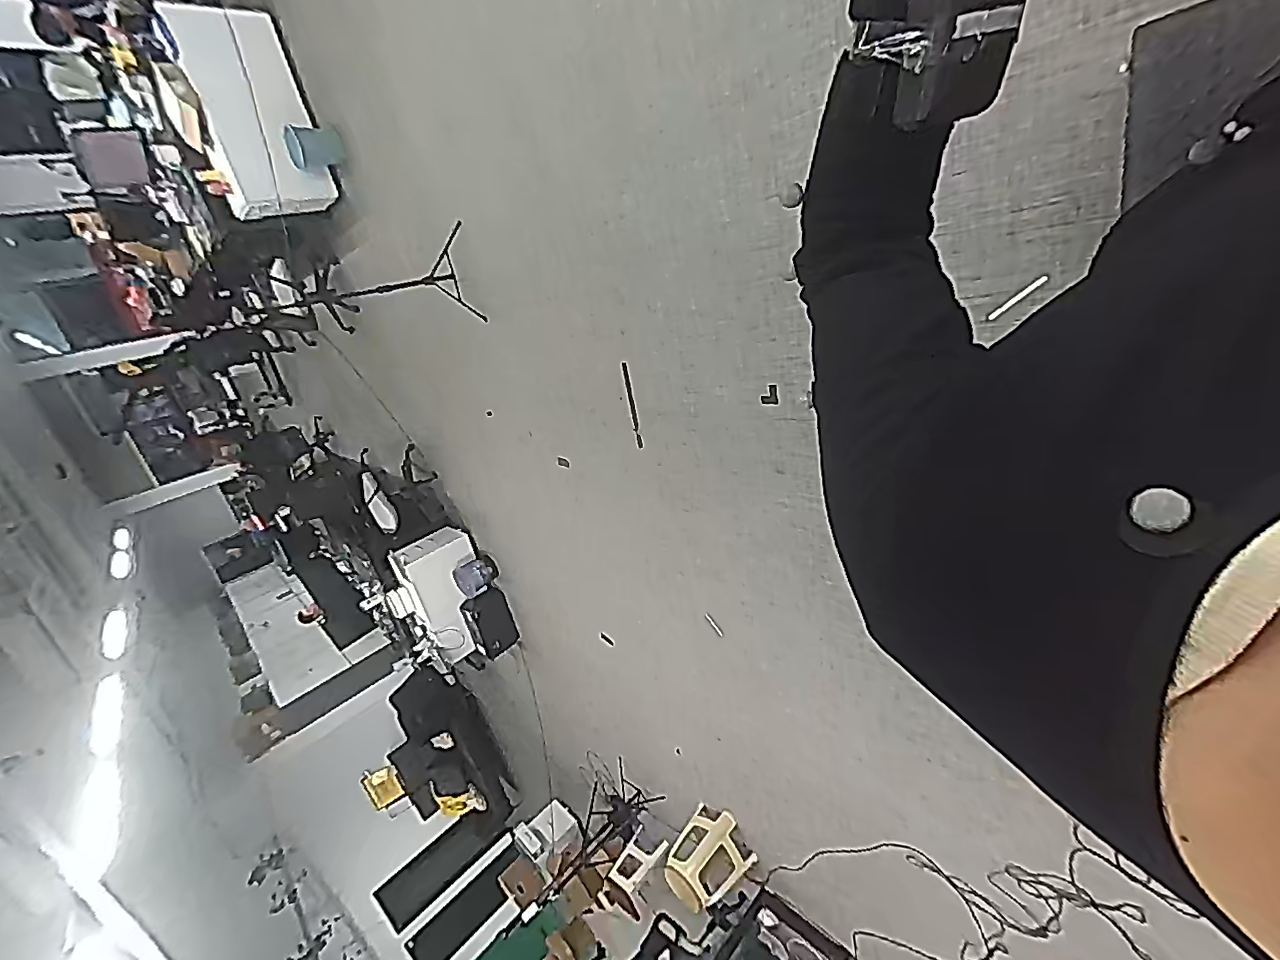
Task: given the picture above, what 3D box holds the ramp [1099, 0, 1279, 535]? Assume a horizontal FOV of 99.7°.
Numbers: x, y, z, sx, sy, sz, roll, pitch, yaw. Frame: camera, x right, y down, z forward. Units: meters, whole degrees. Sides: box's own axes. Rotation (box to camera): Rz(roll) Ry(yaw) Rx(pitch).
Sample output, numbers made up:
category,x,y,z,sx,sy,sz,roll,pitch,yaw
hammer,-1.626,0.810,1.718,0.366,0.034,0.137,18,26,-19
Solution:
category,x,y,z,sx,sy,sz,roll,pitch,yaw
ramp,1.119,-0.300,0.912,0.509,0.206,0.991,8,120,46
